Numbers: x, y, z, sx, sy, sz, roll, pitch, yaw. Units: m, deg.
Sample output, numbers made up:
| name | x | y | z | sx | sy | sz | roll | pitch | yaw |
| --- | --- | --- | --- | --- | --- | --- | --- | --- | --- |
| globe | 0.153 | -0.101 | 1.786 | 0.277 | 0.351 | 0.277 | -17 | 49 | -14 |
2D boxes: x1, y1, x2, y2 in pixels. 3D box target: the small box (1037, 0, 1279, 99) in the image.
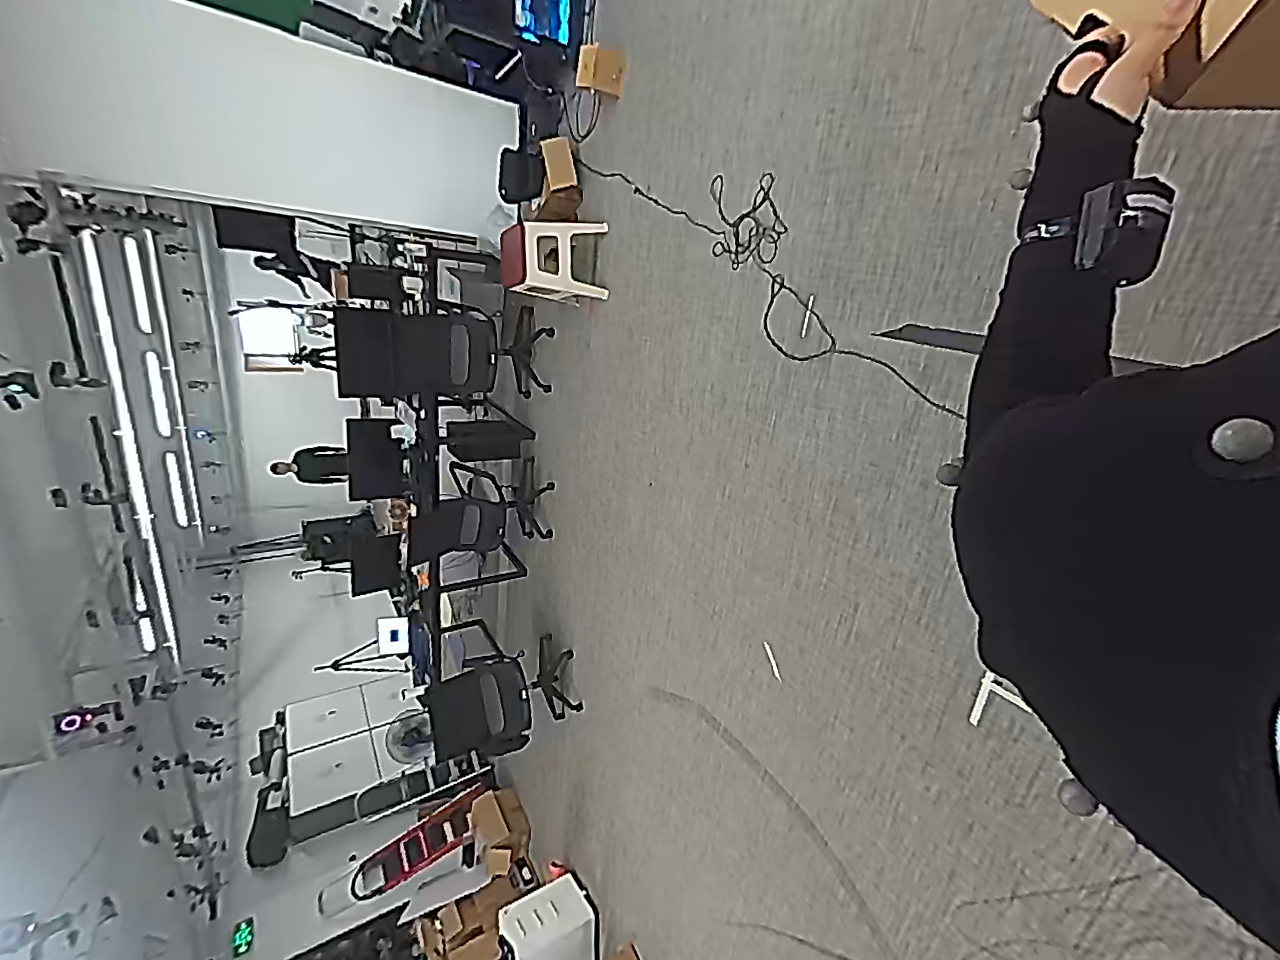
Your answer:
| name | x | y | z | sx | sy | sz | roll | pitch | yaw |
| --- | --- | --- | --- | --- | --- | --- | --- | --- | --- |
| small box | 0.447 | -0.407 | 0.381 | 0.179 | 0.176 | 0.168 | 111 | 143 | -59 |
